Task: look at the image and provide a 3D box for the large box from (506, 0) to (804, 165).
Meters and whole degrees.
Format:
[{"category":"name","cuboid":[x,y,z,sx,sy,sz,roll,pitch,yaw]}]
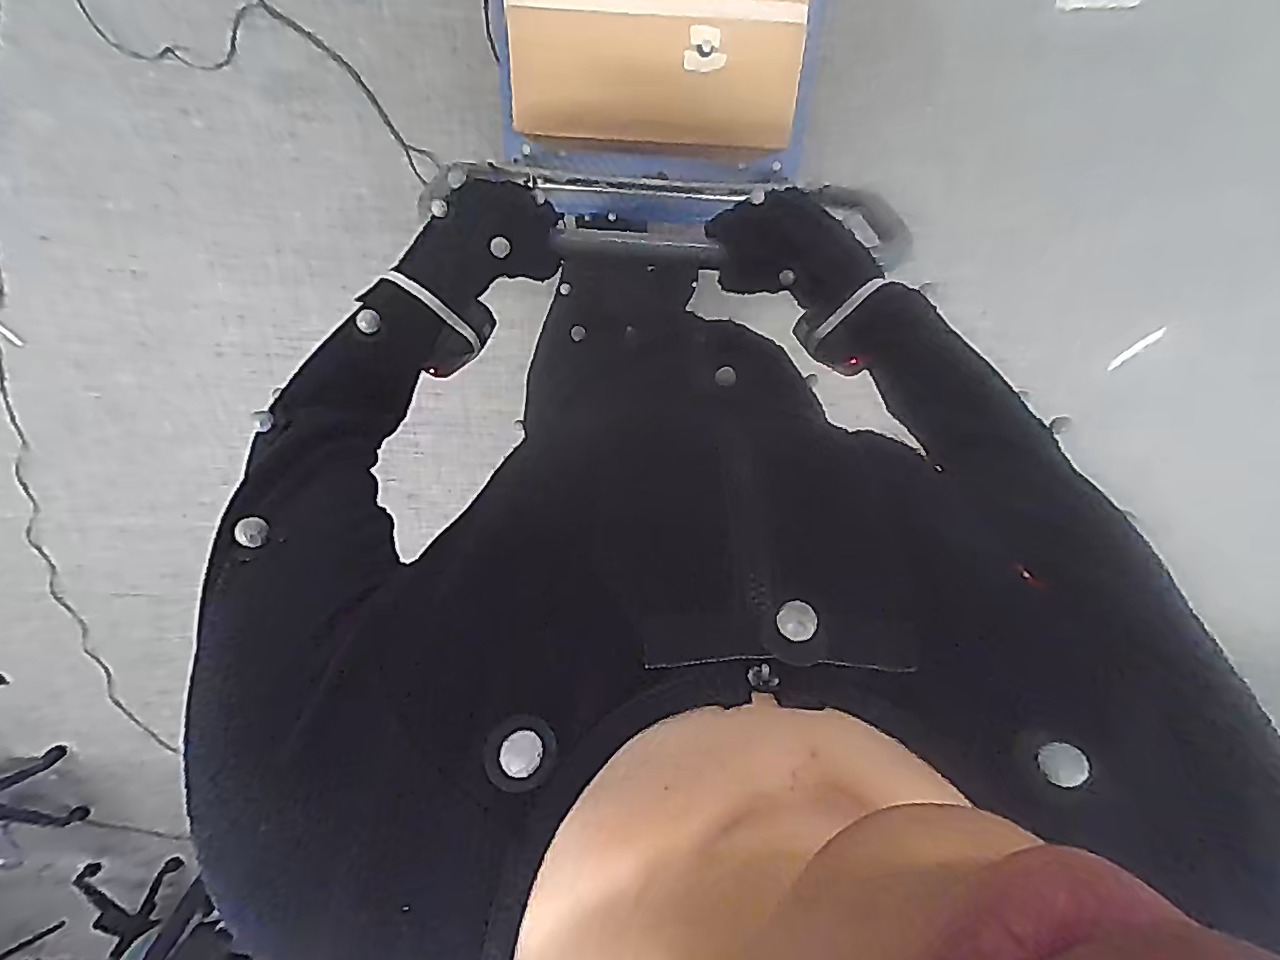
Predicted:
[{"category":"large box","cuboid":[0.014,-0.690,0.853,0.408,0.320,0.320,1,118,-3]}]
